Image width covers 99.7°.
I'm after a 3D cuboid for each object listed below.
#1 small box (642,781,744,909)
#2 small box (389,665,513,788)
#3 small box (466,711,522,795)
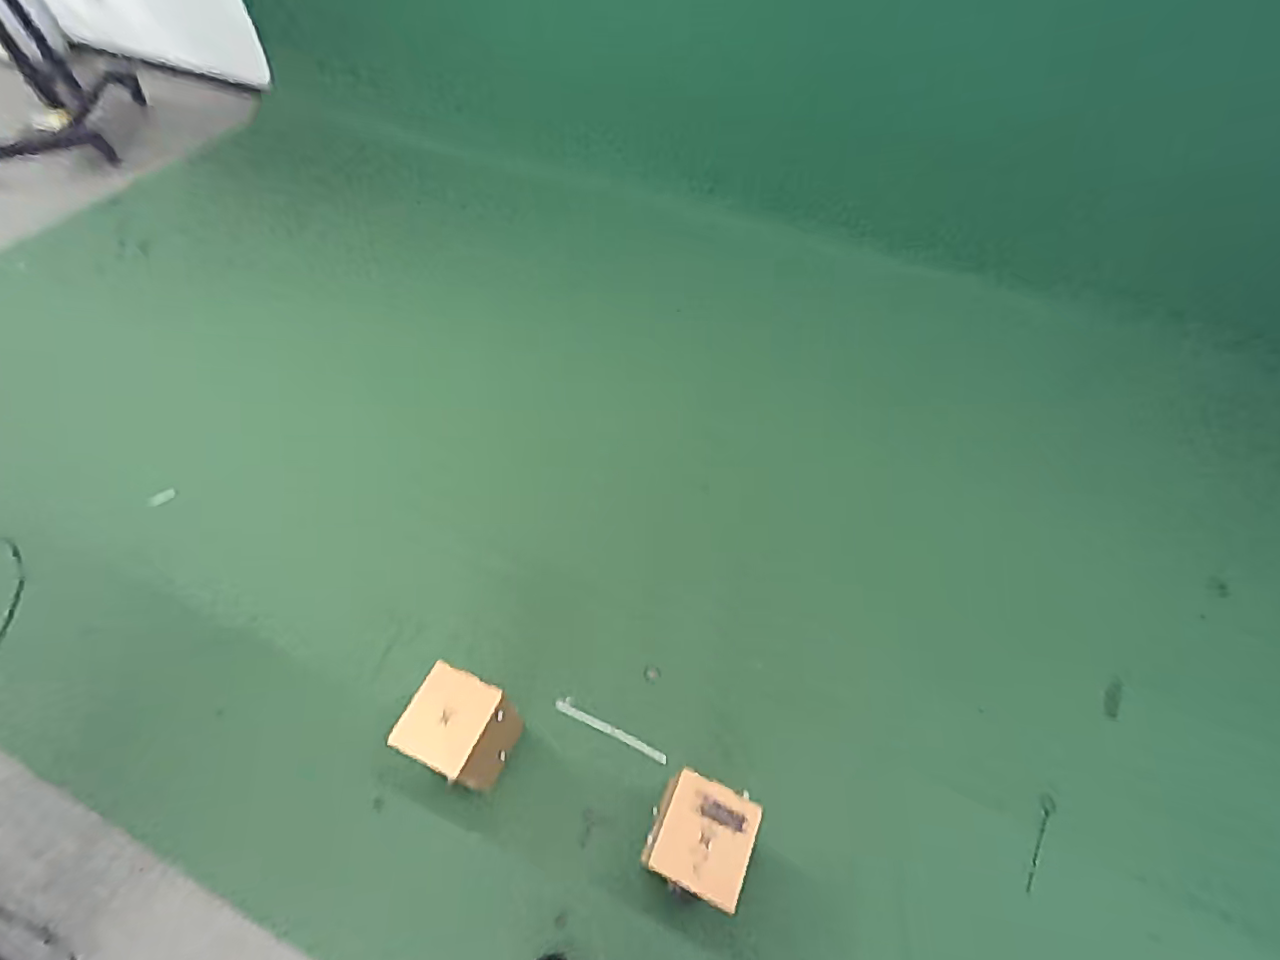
[{"bbox_3d":[0.110,0.799,1.192,0.168,0.176,0.179,23,58,13],"label":"small box"},{"bbox_3d":[-0.393,0.534,1.162,0.168,0.176,0.179,20,56,13],"label":"small box"},{"bbox_3d":[-0.400,0.626,1.295,0.168,0.176,0.179,21,58,13],"label":"small box"}]
